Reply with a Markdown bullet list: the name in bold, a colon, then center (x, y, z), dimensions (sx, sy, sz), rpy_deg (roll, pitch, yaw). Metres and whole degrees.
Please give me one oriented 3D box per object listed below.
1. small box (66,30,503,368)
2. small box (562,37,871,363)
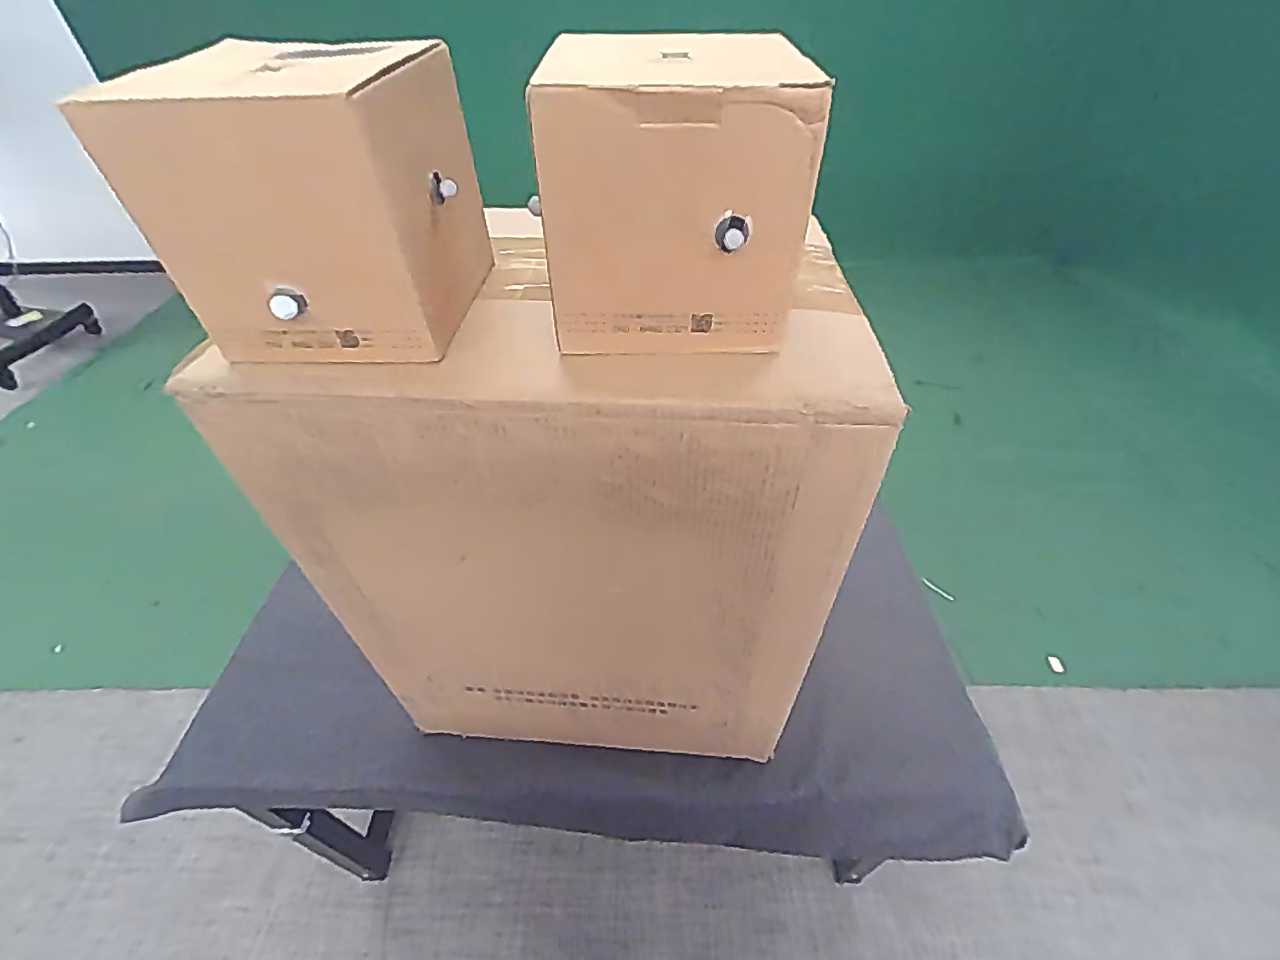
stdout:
- **small box**: center (-0.208, -0.202, 0.387), dimensions (0.168, 0.176, 0.179), rpy_deg (3, 47, 5)
- **small box**: center (0.039, -0.201, 0.394), dimensions (0.168, 0.176, 0.179), rpy_deg (2, 46, -2)
